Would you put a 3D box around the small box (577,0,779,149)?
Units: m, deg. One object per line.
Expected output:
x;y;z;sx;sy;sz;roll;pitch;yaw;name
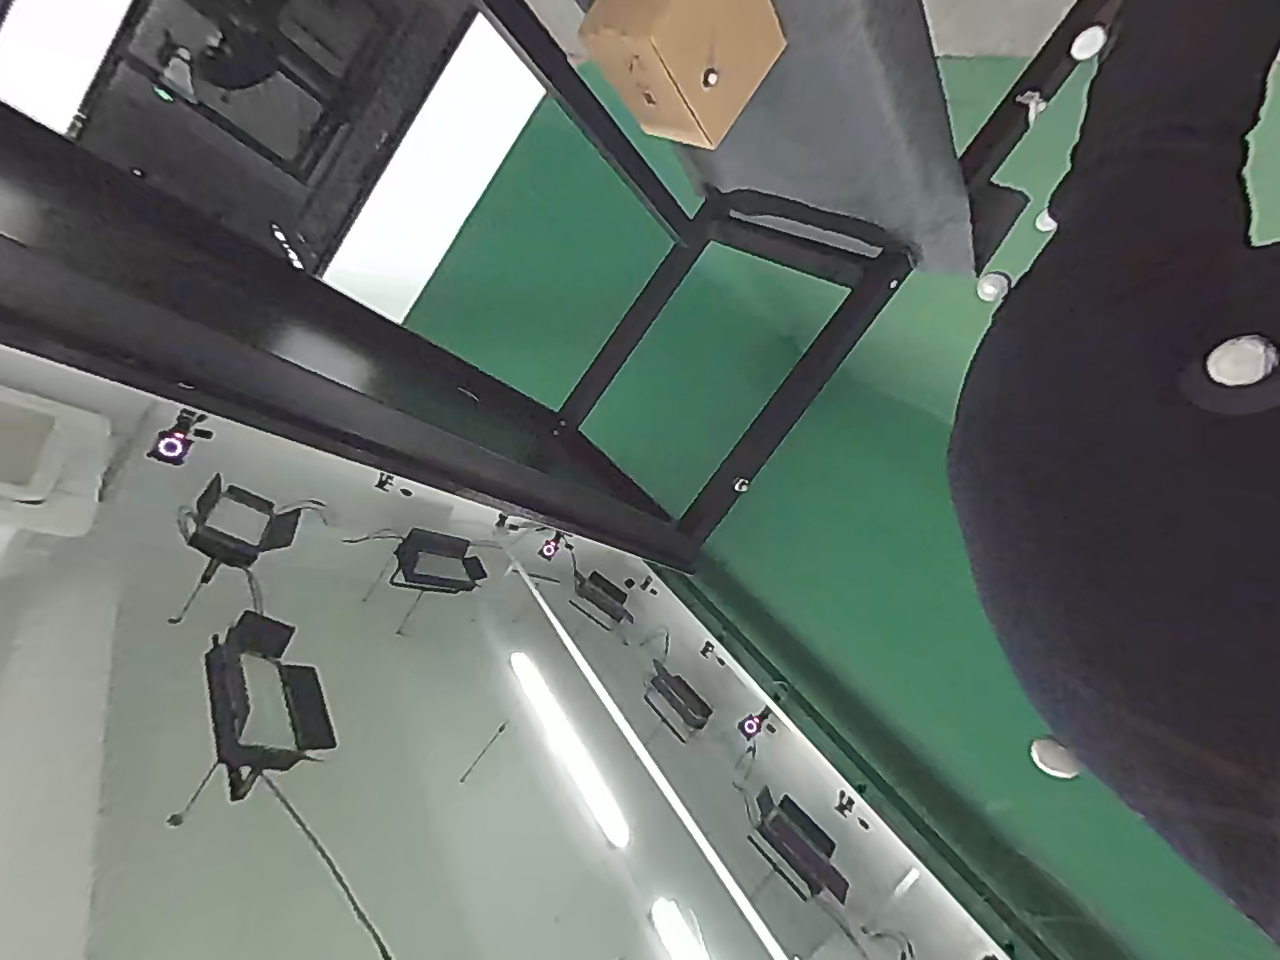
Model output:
0.057;-0.596;0.729;0.168;0.176;0.179;41;-171;37;small box
